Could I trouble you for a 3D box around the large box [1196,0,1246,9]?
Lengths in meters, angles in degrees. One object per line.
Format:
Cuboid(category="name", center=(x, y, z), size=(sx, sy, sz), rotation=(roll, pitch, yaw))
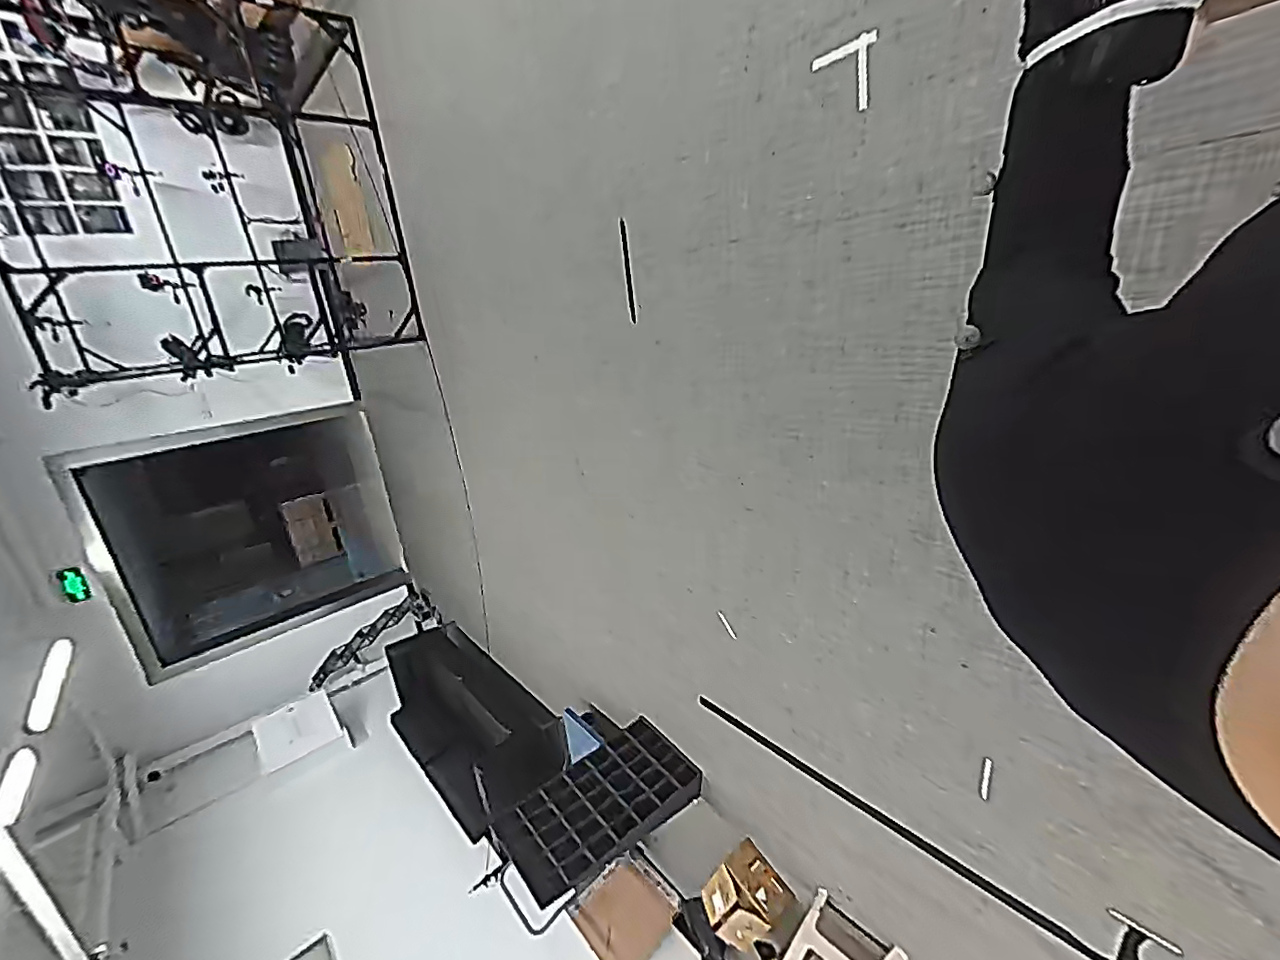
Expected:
Cuboid(category="large box", center=(0.534, -0.510, 0.242), size=(0.408, 0.320, 0.320), rotation=(10, 123, 48))
